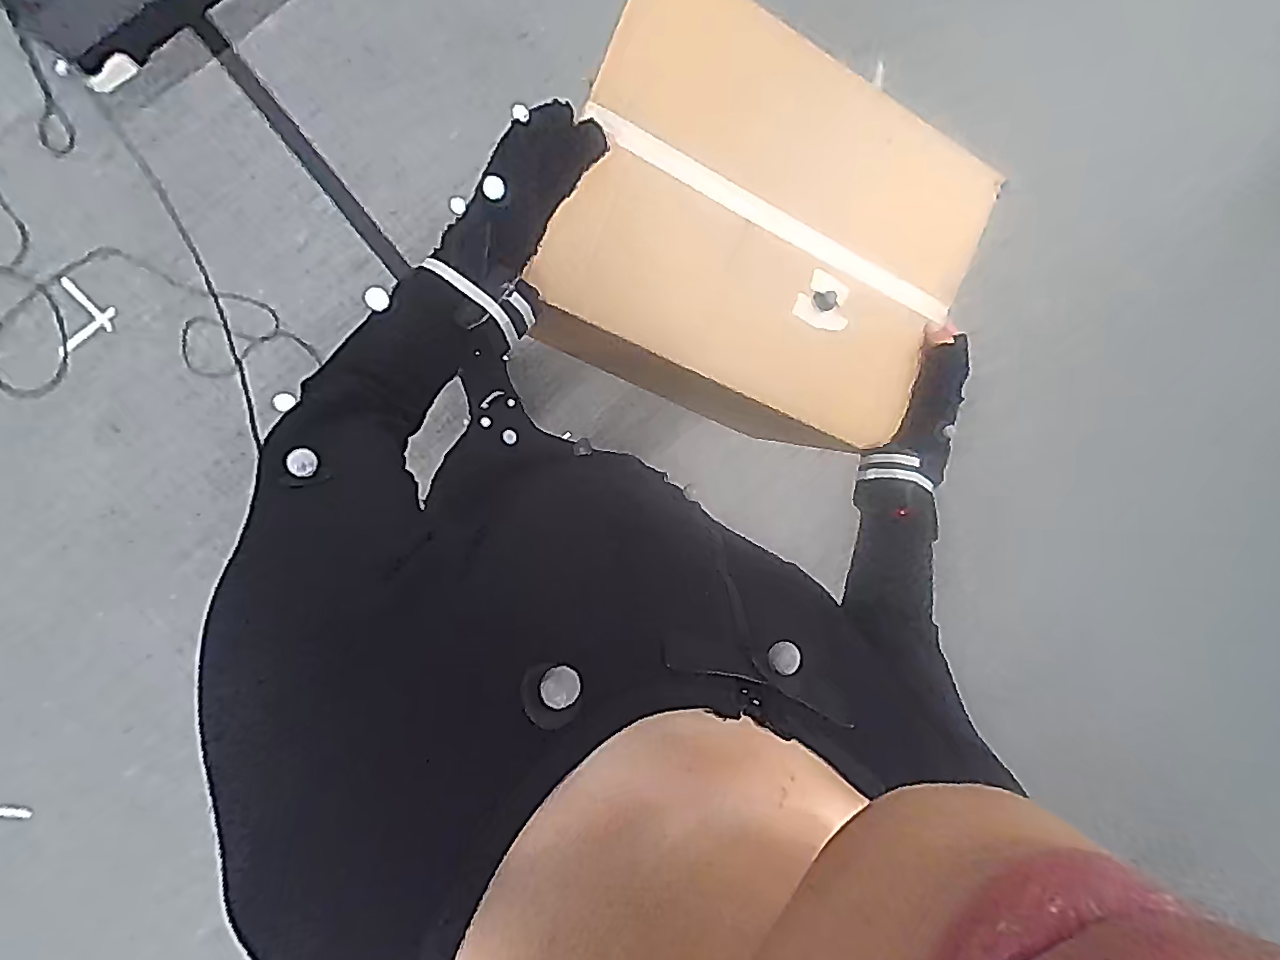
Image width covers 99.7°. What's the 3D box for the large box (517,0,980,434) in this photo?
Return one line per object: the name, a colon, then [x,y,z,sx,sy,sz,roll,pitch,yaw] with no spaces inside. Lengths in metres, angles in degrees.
large box: [0.090,-0.271,0.662,0.408,0.320,0.320,20,93,-15]
